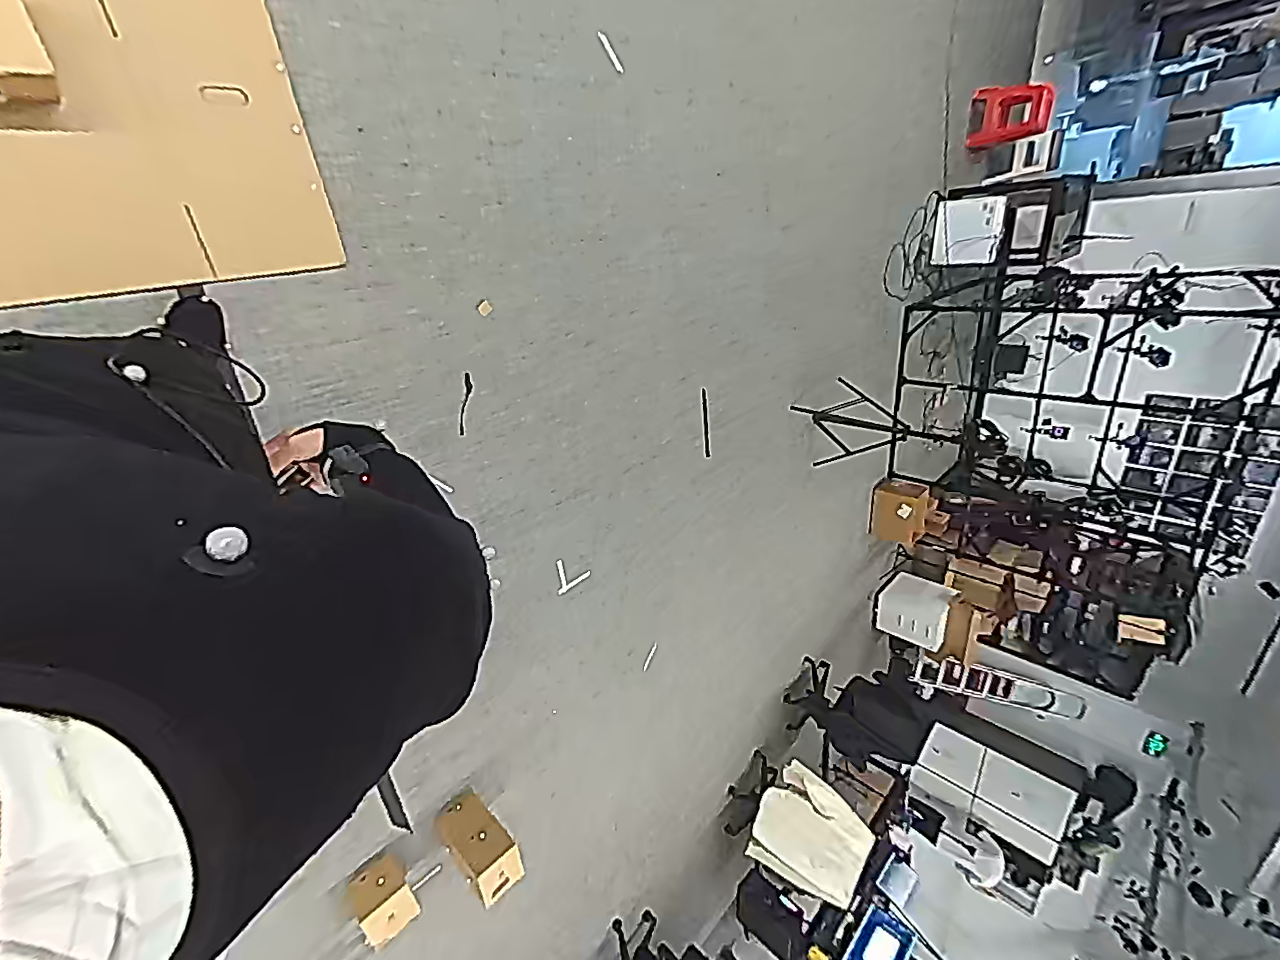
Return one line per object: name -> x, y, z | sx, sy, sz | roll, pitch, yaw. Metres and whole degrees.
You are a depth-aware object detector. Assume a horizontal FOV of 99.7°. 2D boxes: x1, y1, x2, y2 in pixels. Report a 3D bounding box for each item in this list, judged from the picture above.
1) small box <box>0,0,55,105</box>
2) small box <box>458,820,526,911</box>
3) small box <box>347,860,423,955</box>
small box -> -1.119, -0.743, 0.887 | 0.168, 0.176, 0.179 | -28, 122, -36
small box -> -0.545, 1.409, 1.989 | 0.168, 0.176, 0.179 | -25, 119, -40
small box -> -0.895, 1.484, 1.893 | 0.168, 0.176, 0.179 | -29, 123, -37
